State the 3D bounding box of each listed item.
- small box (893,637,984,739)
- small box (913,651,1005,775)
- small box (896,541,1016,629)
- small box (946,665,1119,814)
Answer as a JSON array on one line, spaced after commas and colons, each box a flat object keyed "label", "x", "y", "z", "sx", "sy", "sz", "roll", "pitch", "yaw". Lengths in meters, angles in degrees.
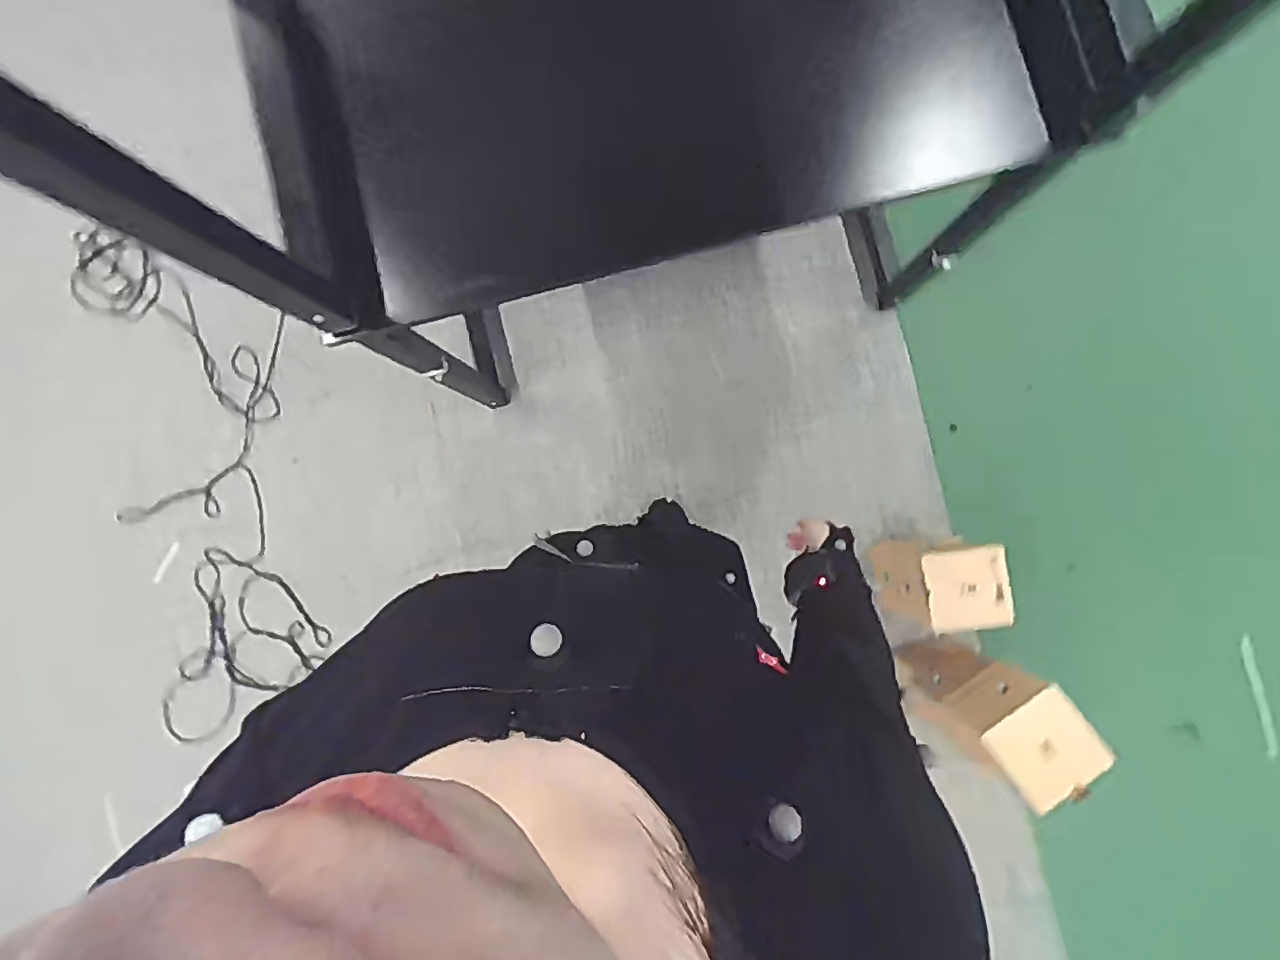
[{"label": "small box", "x": 0.774, "y": 0.513, "z": 1.369, "sx": 0.168, "sy": 0.176, "sz": 0.179, "roll": -21, "pitch": 88, "yaw": 3}, {"label": "small box", "x": 0.752, "y": 0.504, "z": 1.209, "sx": 0.168, "sy": 0.176, "sz": 0.179, "roll": -34, "pitch": 87, "yaw": 4}, {"label": "small box", "x": 0.698, "y": 0.231, "z": 1.217, "sx": 0.179, "sy": 0.176, "sz": 0.168, "roll": -7, "pitch": 87, "yaw": 3}, {"label": "small box", "x": 0.741, "y": 0.484, "z": 1.046, "sx": 0.168, "sy": 0.176, "sz": 0.179, "roll": -38, "pitch": 87, "yaw": 3}]
